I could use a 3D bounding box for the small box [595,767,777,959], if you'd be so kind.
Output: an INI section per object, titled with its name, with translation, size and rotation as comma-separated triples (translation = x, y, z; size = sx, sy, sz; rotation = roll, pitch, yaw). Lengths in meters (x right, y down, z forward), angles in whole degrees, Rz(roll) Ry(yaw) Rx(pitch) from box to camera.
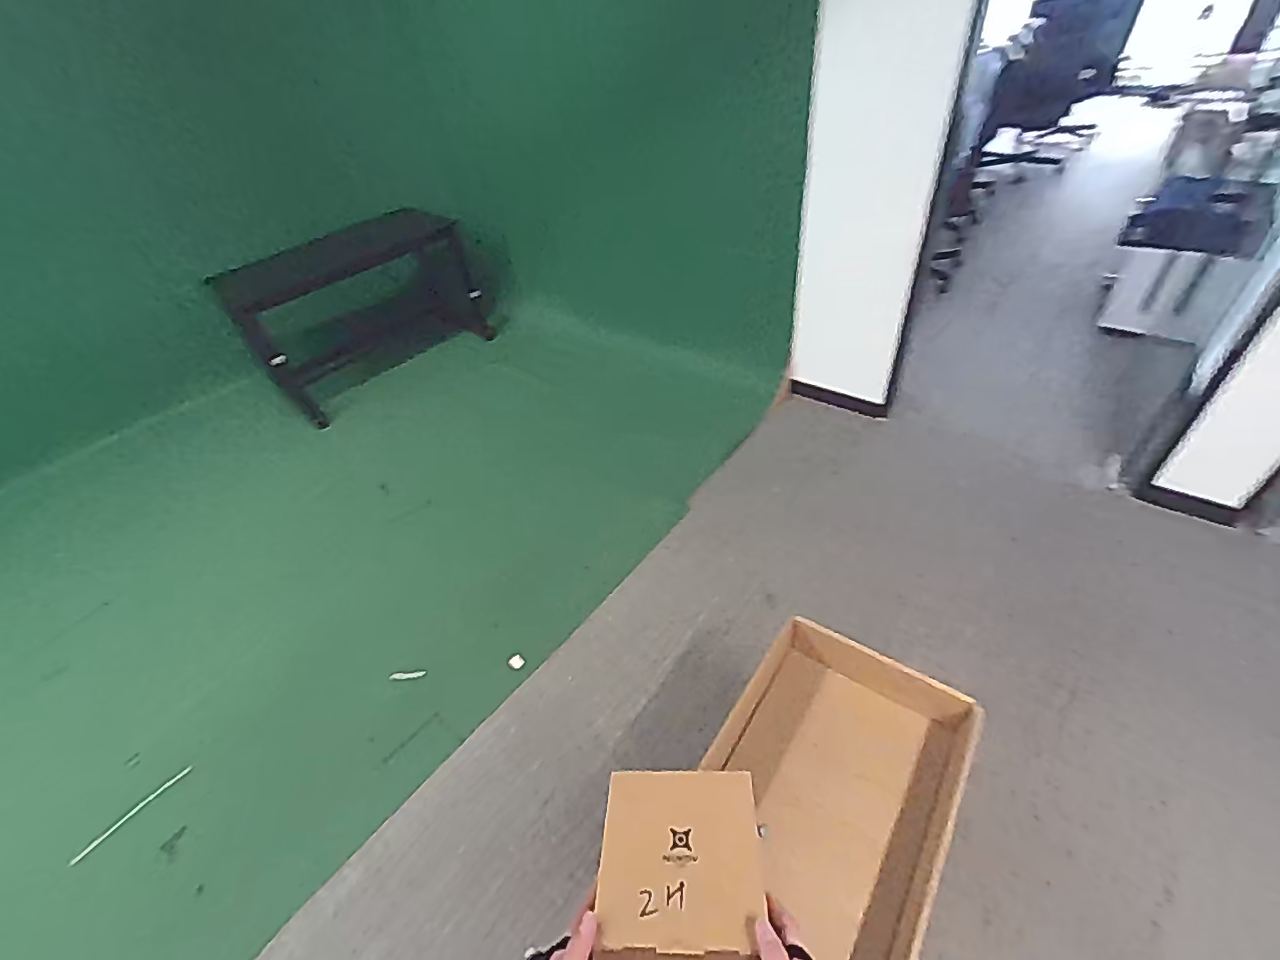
[small box]
translation = 0.051, 0.447, 0.593
size = 0.168, 0.176, 0.179
rotation = -4, 27, 5
